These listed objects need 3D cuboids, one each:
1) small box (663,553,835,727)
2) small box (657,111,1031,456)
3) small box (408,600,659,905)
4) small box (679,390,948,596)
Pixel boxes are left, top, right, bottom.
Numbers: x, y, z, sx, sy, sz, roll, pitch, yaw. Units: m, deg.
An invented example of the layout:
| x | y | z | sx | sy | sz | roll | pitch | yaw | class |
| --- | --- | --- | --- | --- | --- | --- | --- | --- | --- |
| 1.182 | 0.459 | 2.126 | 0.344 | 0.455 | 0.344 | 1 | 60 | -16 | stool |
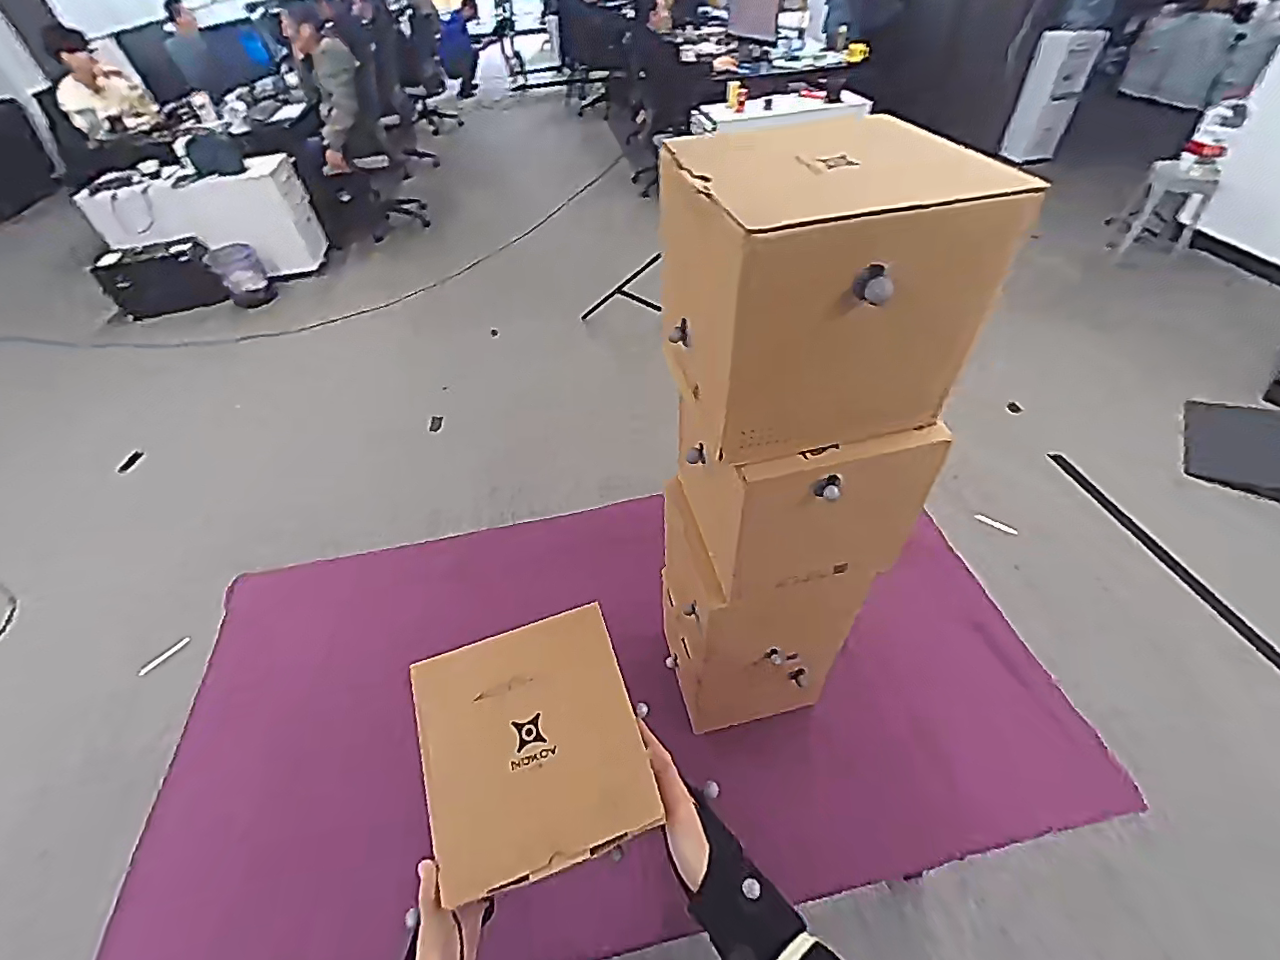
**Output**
| x | y | z | sx | sy | sz | roll | pitch | yaw | class |
| --- | --- | --- | --- | --- | --- | --- | --- | --- | --- |
| 0.134 | 0.209 | 0.736 | 0.179 | 0.176 | 0.168 | -12 | 46 | -6 | small box |
| 0.116 | -0.141 | 0.393 | 0.179 | 0.176 | 0.168 | -13 | 47 | -7 | small box |
| -0.088 | 0.238 | 0.490 | 0.168 | 0.176 | 0.179 | -17 | 60 | -11 | small box |
| 0.134 | -0.022 | 0.503 | 0.168 | 0.176 | 0.179 | -12 | 46 | -7 | small box |
